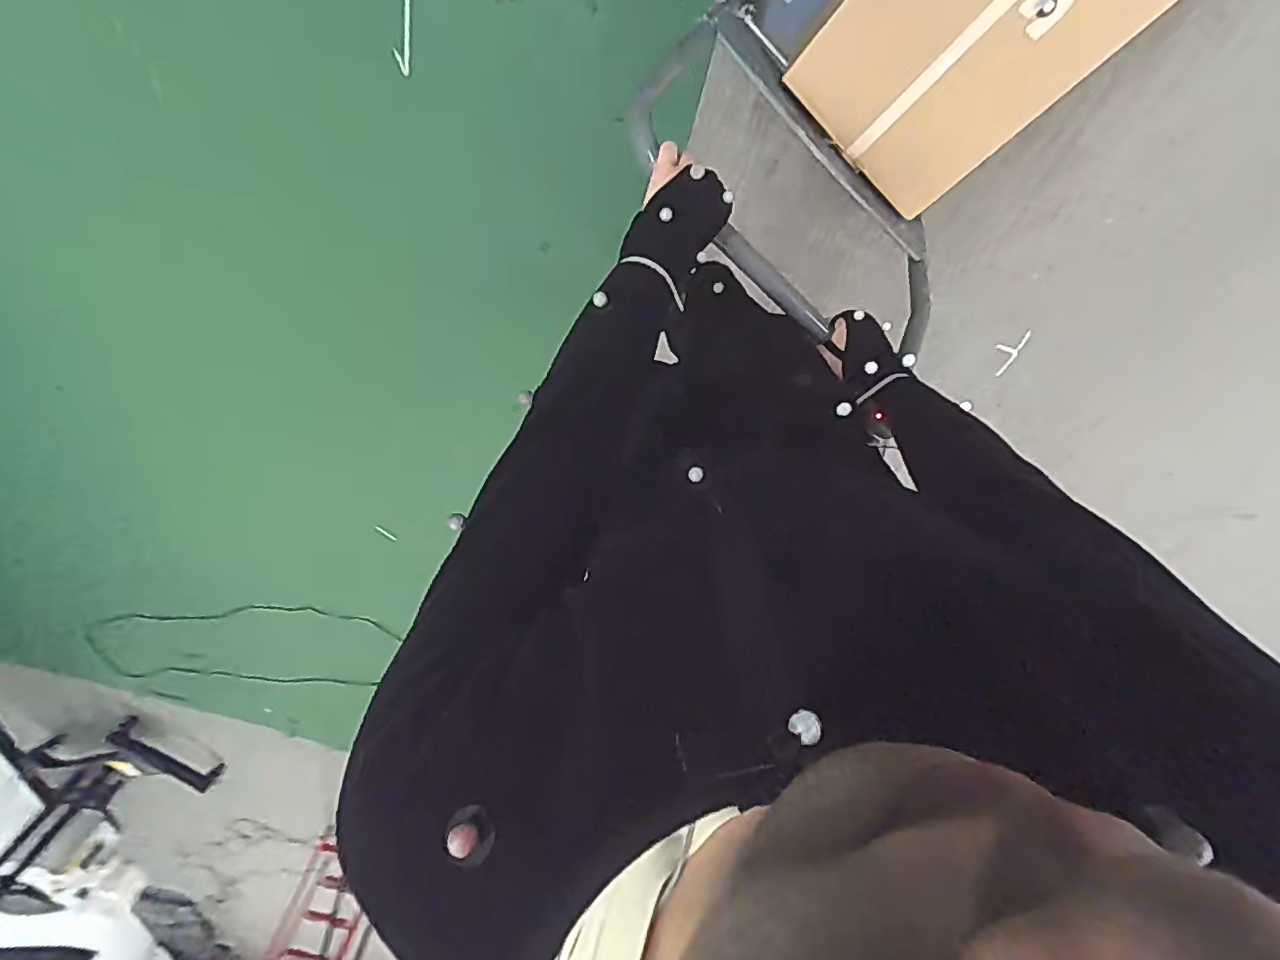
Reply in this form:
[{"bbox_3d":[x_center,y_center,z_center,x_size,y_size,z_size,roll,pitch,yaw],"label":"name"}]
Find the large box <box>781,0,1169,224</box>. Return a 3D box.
[{"bbox_3d":[0.487,-0.715,0.862,0.320,0.320,0.408,37,134,-18],"label":"large box"}]
